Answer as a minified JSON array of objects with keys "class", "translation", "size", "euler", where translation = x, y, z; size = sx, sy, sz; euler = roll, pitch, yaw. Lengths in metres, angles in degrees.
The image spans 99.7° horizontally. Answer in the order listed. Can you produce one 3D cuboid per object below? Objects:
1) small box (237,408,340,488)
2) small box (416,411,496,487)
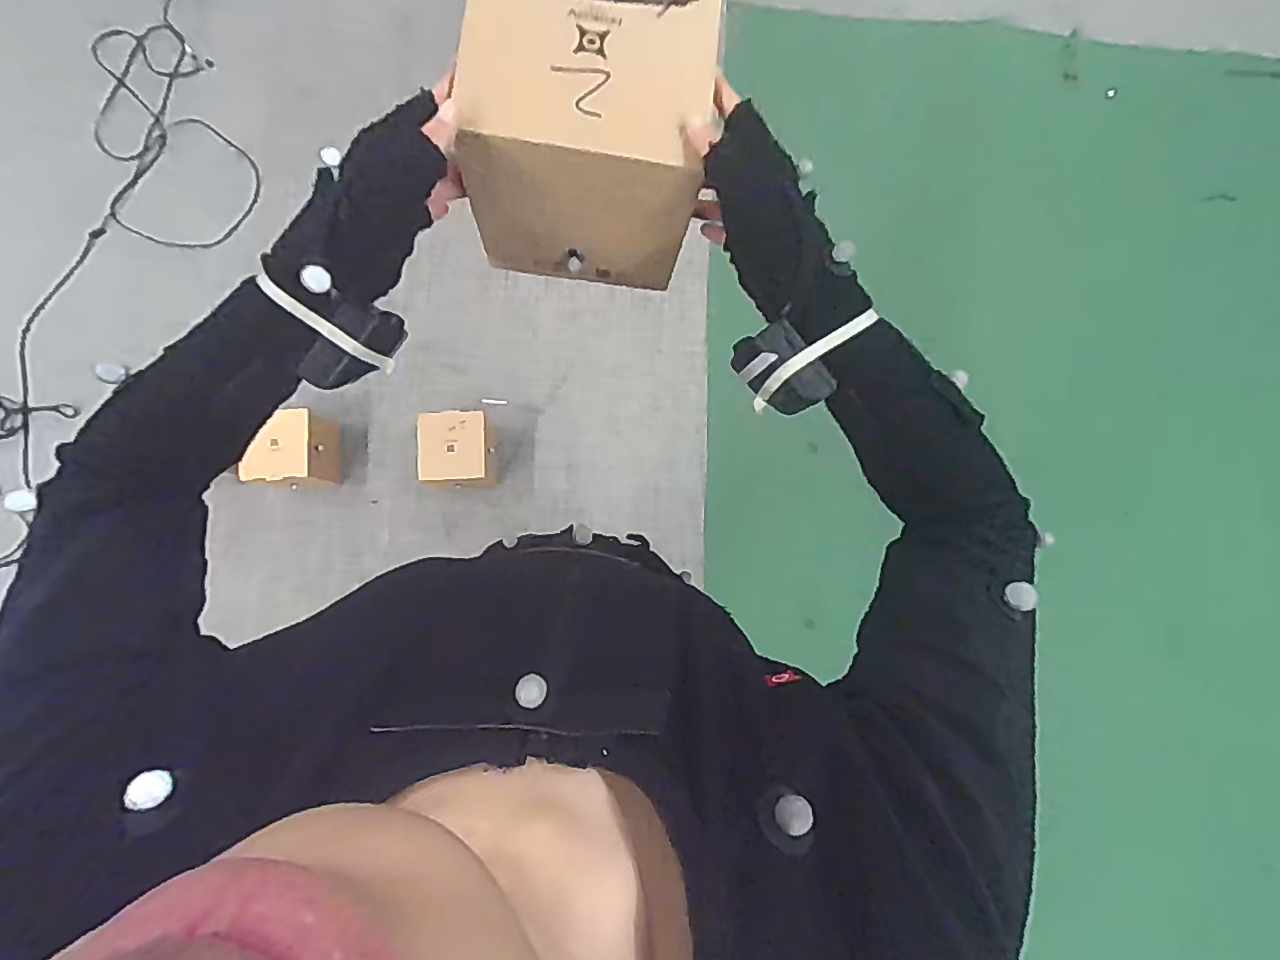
[{"class":"small box","translation":[-0.904,-0.078,1.403],"size":[0.168,0.176,0.179],"euler":[-4,84,-3]},{"class":"small box","translation":[-0.478,-0.075,1.424],"size":[0.168,0.176,0.179],"euler":[-3,83,-5]}]
